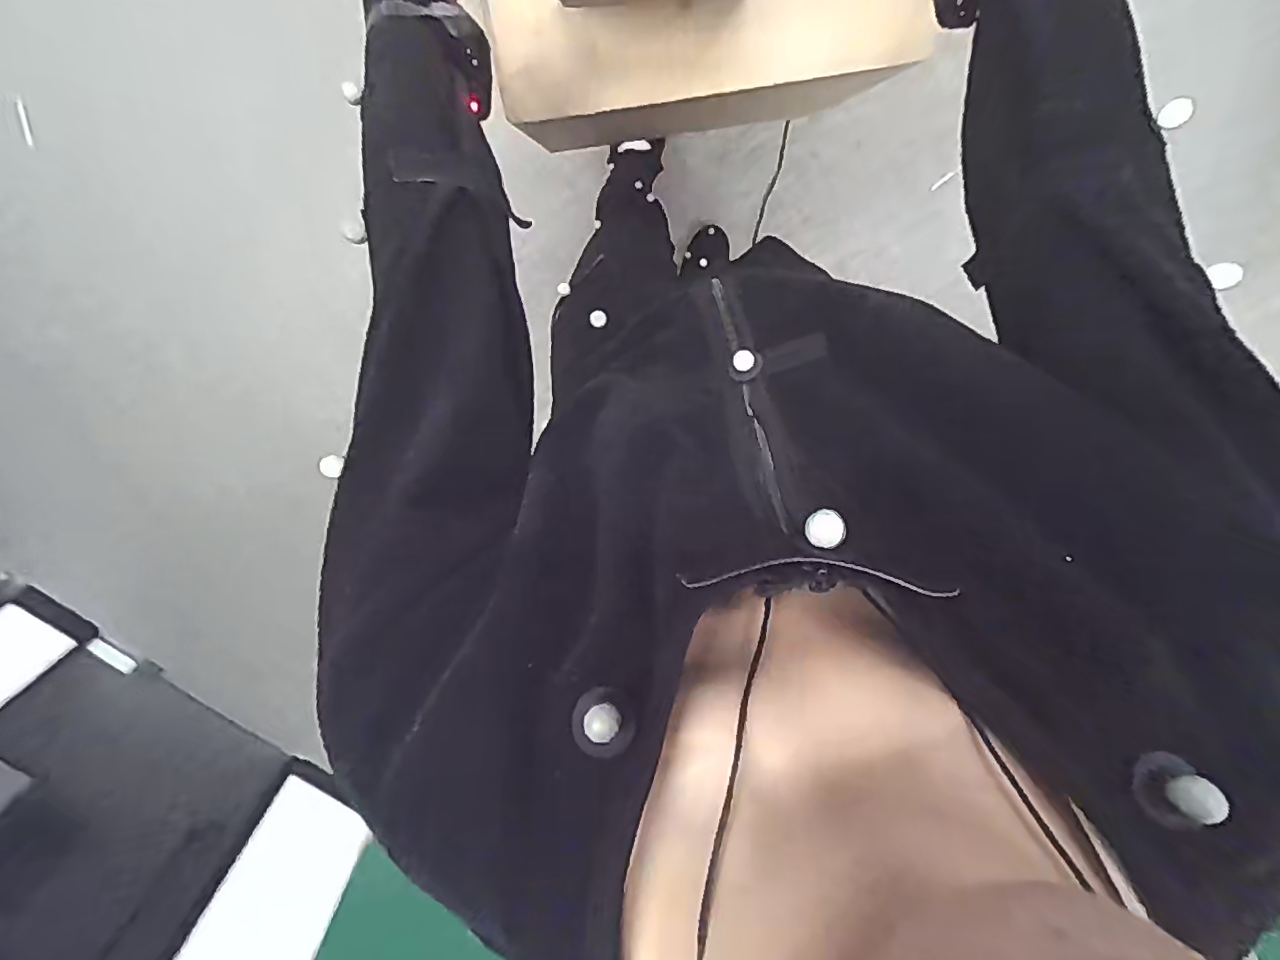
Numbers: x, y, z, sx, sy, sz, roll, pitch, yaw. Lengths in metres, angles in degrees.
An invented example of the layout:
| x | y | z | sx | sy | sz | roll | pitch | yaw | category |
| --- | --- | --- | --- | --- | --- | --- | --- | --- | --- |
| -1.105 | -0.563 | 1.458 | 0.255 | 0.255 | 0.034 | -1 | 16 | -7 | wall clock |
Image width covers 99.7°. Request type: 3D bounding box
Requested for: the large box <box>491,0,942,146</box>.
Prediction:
| x | y | z | sx | sy | sz | roll | pitch | yaw | category |
| --- | --- | --- | --- | --- | --- | --- | --- | --- | --- |
| 0.050 | -0.572 | 0.566 | 0.408 | 0.320 | 0.320 | -8 | 118 | 2 | large box |
